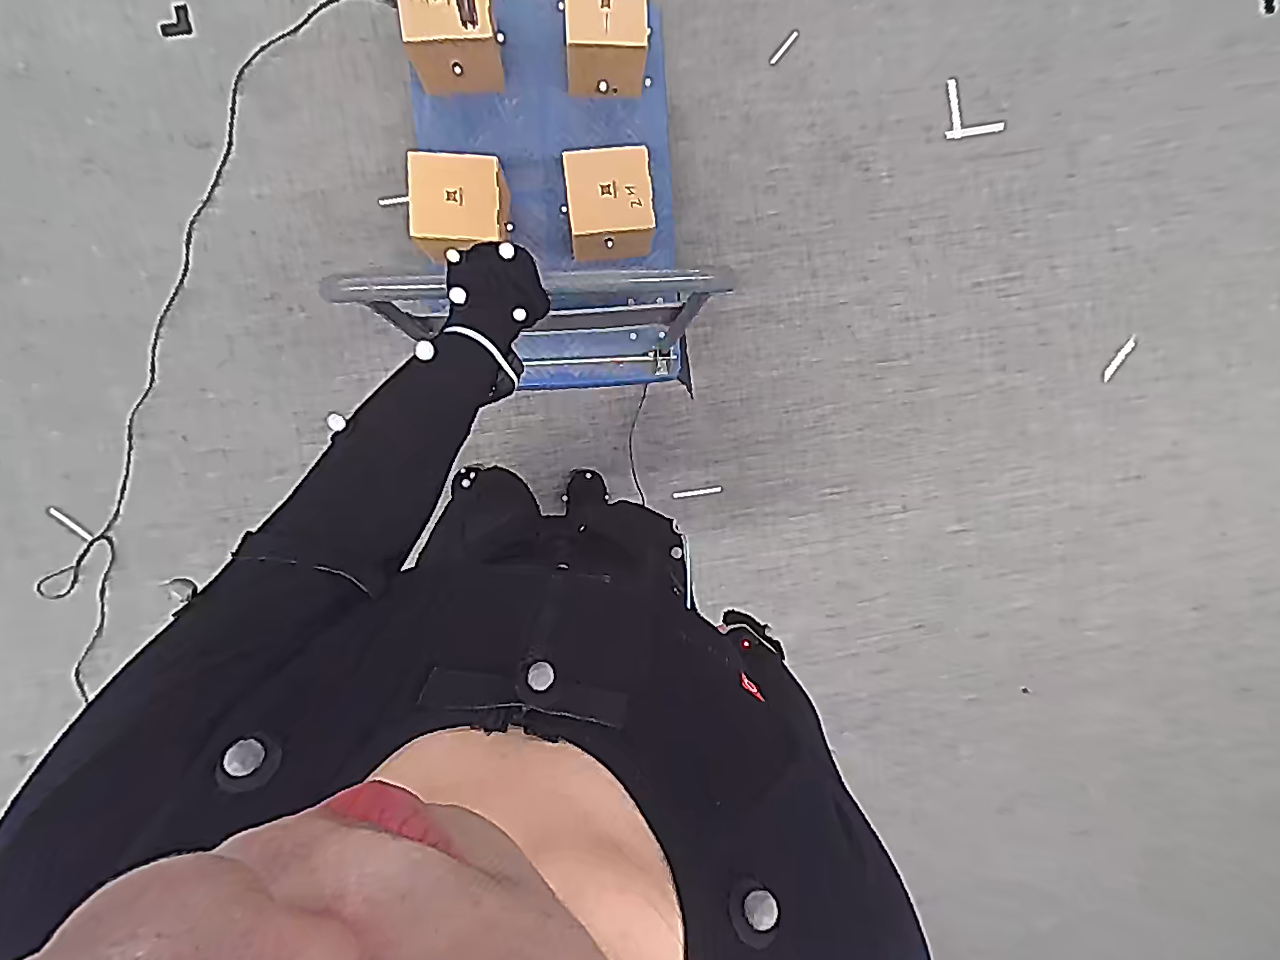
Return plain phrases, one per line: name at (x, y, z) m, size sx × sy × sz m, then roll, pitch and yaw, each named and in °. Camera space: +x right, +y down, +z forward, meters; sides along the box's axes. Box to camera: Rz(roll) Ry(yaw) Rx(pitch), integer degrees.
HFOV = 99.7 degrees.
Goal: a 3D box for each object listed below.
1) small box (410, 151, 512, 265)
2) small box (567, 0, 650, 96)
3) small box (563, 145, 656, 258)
small box at (-0.374, -0.569, 1.150) m, size 0.179 × 0.176 × 0.168 m, roll -1°, pitch 94°, yaw -7°
small box at (-0.071, -0.961, 1.147) m, size 0.168 × 0.176 × 0.179 m, roll -2°, pitch 96°, yaw -5°
small box at (-0.066, -0.595, 1.176) m, size 0.179 × 0.176 × 0.168 m, roll -7°, pitch 95°, yaw -5°
